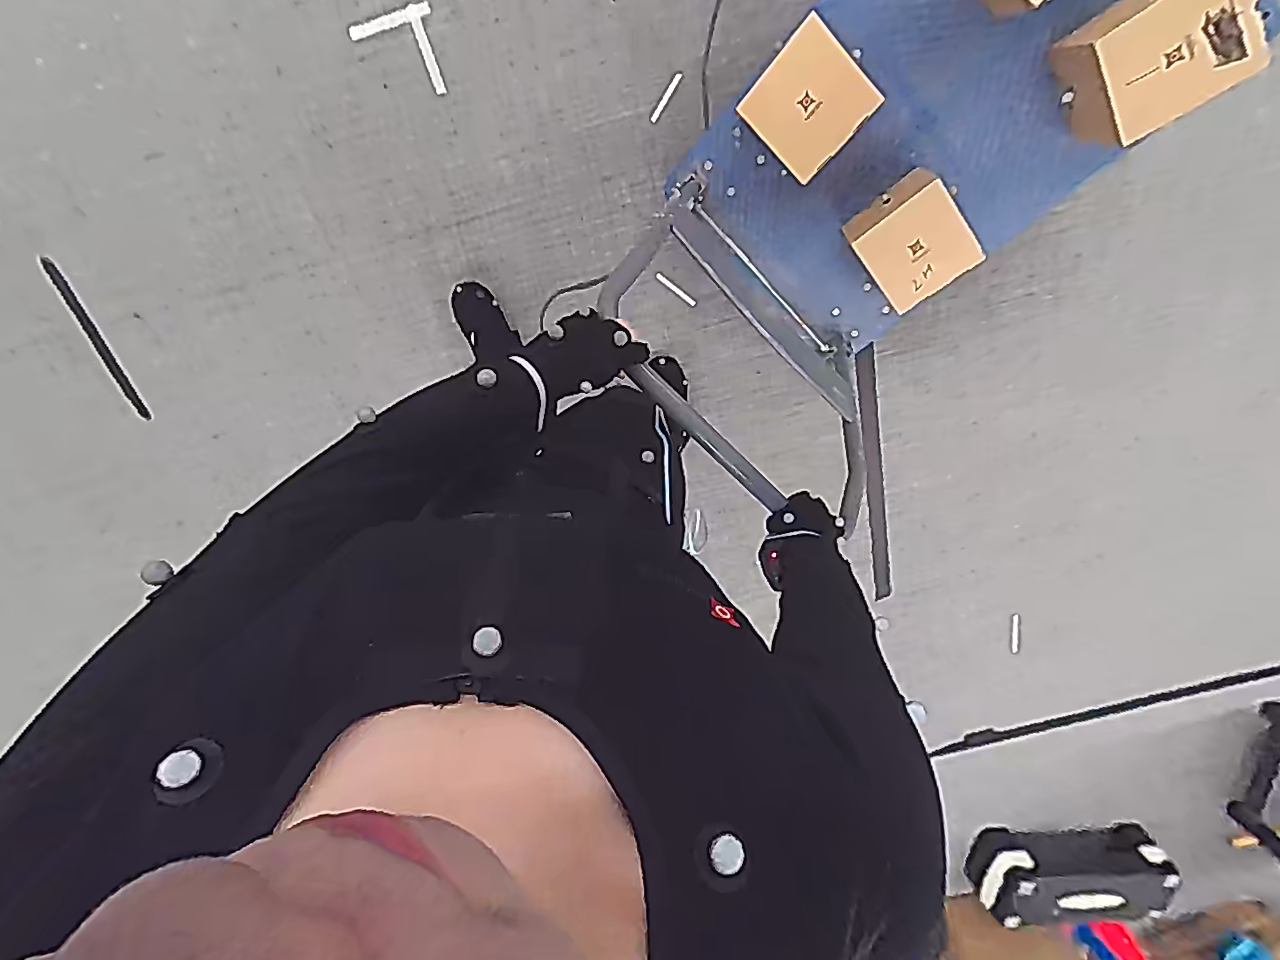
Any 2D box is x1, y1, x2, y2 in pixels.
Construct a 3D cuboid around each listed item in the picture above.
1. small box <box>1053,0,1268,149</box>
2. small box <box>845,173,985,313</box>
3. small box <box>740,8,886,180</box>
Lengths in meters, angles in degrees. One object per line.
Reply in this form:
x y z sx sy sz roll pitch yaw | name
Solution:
0.791 -0.655 0.838 0.179 0.176 0.168 -26 116 29 | small box
0.517 -0.461 1.041 0.168 0.176 0.179 -33 112 31 | small box
0.293 -0.666 0.948 0.179 0.176 0.168 38 124 -16 | small box
